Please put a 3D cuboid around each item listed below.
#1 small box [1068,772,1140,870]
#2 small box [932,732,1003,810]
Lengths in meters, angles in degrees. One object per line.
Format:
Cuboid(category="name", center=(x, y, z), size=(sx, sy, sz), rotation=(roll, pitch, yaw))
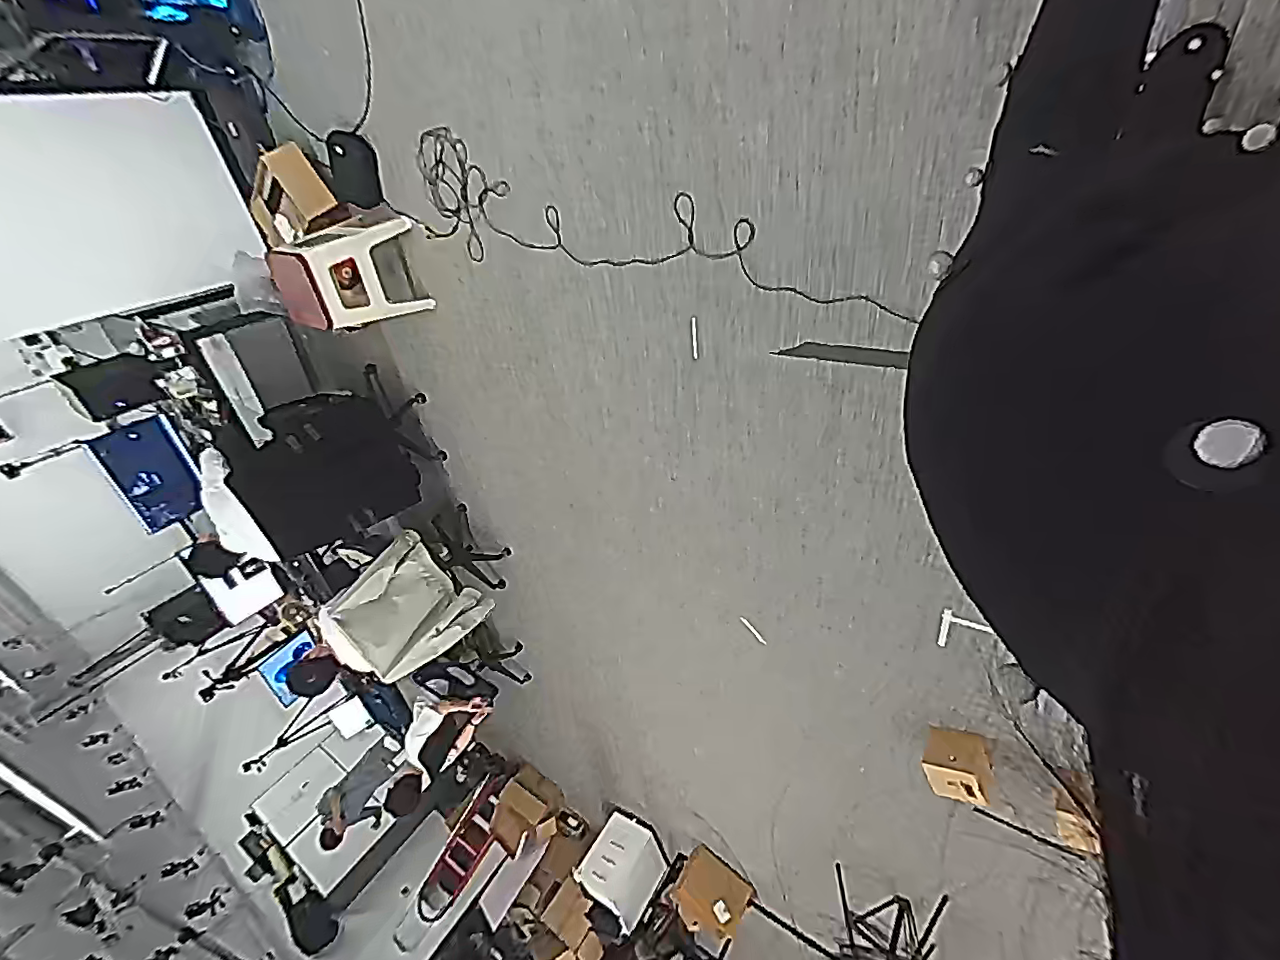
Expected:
Cuboid(category="small box", center=(1.486, 1.083, 1.730), size=(0.168, 0.176, 0.179), rotation=(-5, 116, 42))
Cuboid(category="small box", center=(1.190, 1.044, 1.955), size=(0.179, 0.176, 0.168), rotation=(-12, 112, 47))
